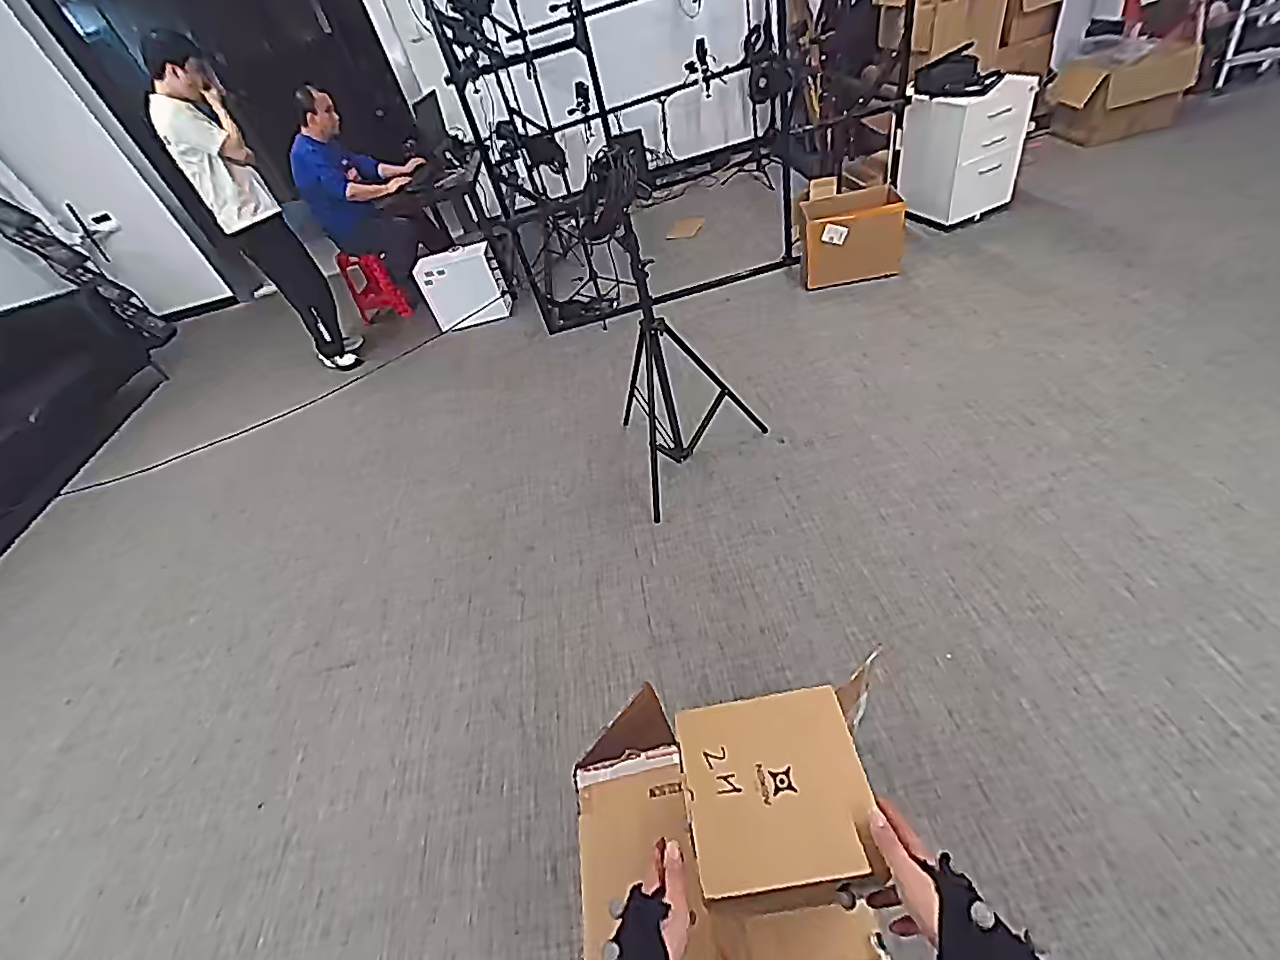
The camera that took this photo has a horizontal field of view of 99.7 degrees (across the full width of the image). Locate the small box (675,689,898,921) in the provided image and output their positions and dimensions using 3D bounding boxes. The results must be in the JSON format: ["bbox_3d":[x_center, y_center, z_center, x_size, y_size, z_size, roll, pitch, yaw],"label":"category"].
[{"bbox_3d":[0.142,0.347,0.575,0.179,0.176,0.168,-12,44,3],"label":"small box"}]
